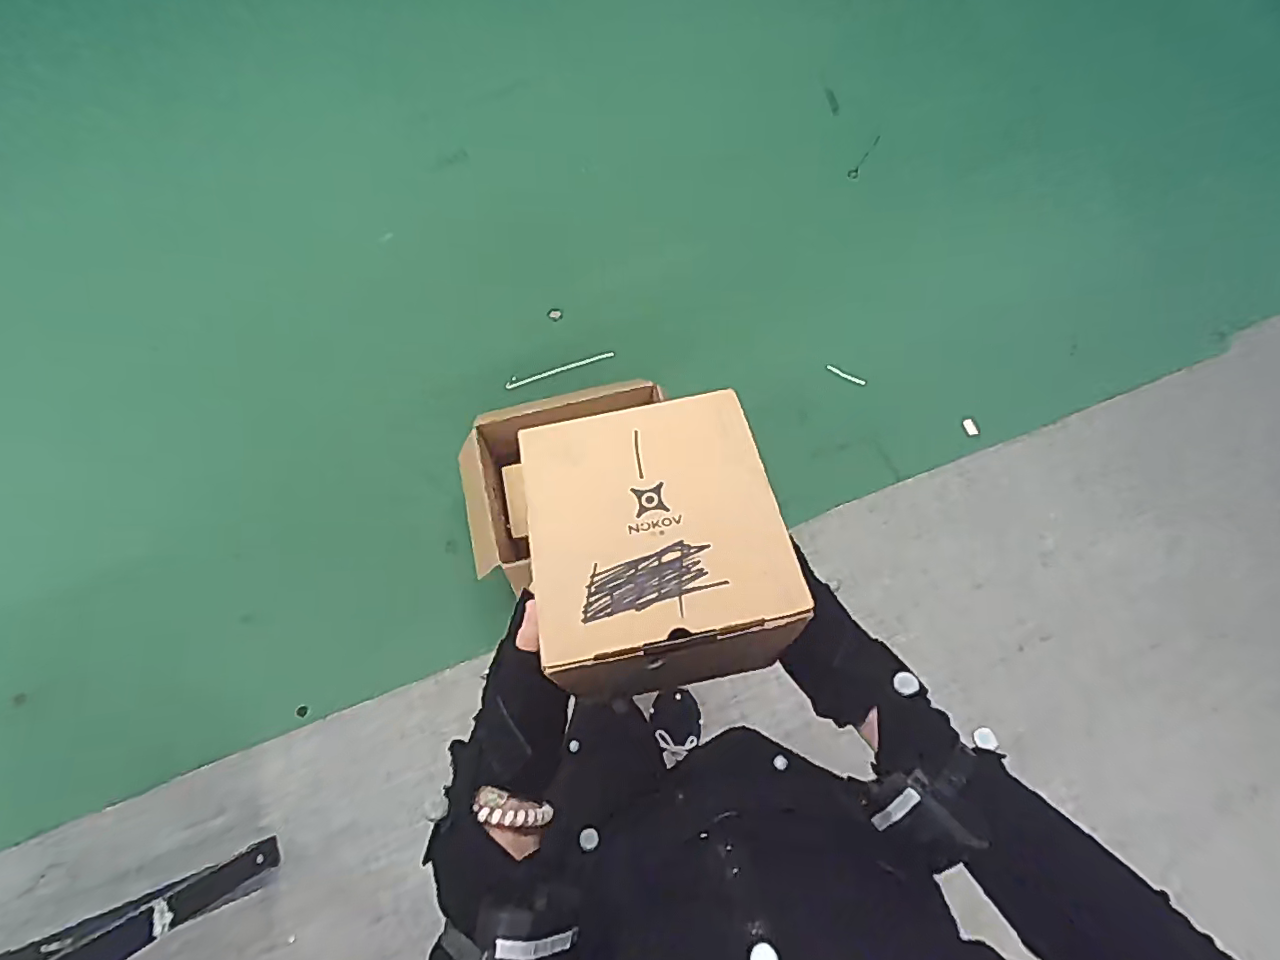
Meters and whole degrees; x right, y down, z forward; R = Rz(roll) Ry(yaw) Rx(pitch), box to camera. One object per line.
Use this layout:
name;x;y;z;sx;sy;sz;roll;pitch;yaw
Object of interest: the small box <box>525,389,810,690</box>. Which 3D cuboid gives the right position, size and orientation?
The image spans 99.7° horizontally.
small box;0.014;0.059;0.428;0.168;0.176;0.179;-10;61;-3
